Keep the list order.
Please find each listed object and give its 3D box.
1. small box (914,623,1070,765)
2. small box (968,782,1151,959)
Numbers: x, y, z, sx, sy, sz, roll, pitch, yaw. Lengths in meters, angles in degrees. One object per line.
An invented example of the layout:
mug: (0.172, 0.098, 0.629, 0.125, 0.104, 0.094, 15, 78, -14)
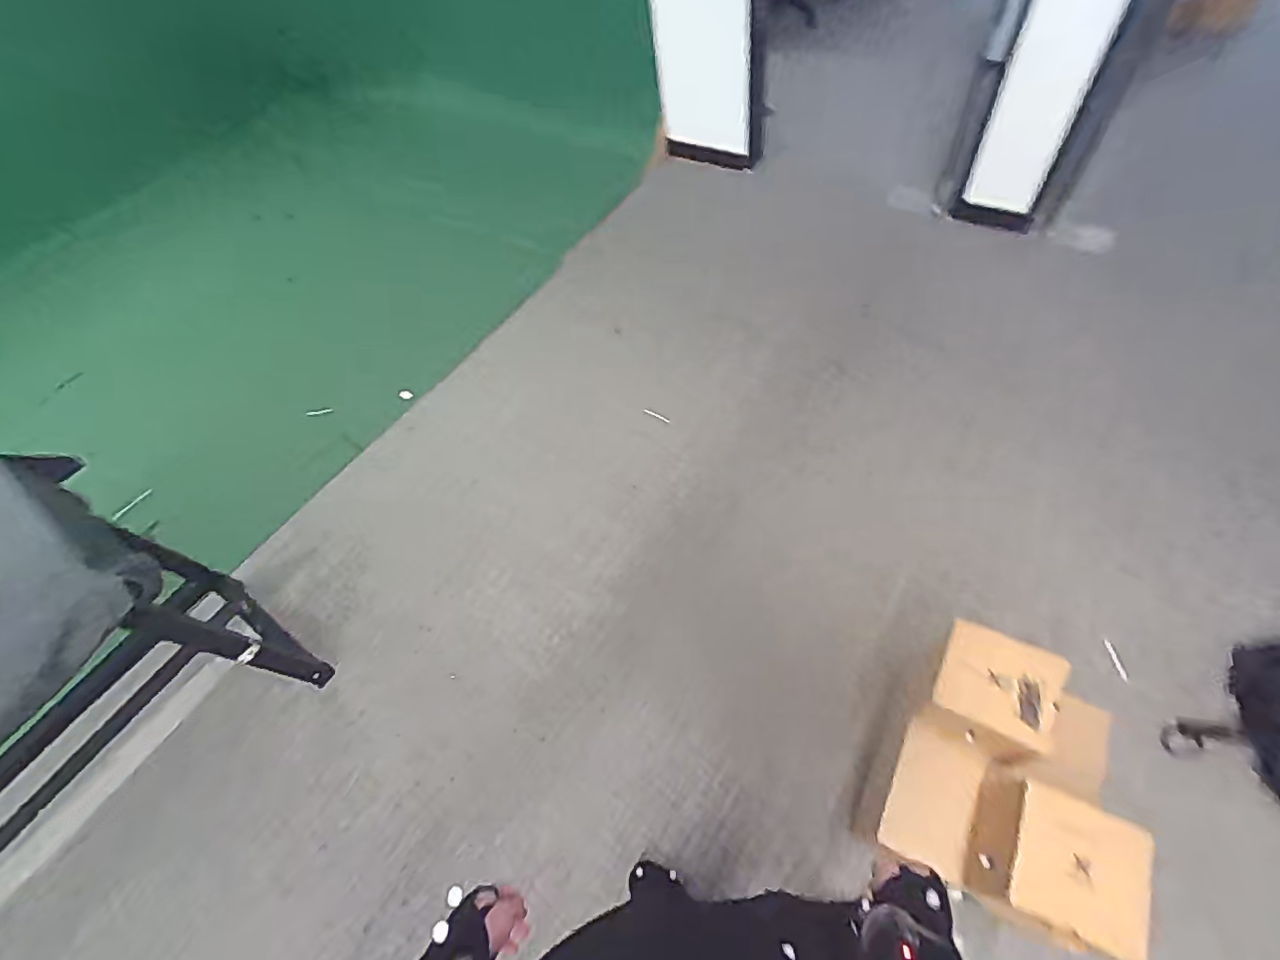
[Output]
small box: (0.624, 0.391, 0.977, 0.179, 0.176, 0.168, 22, 64, 26)
small box: (0.639, 0.602, 0.841, 0.168, 0.176, 0.179, 20, 63, 18)
